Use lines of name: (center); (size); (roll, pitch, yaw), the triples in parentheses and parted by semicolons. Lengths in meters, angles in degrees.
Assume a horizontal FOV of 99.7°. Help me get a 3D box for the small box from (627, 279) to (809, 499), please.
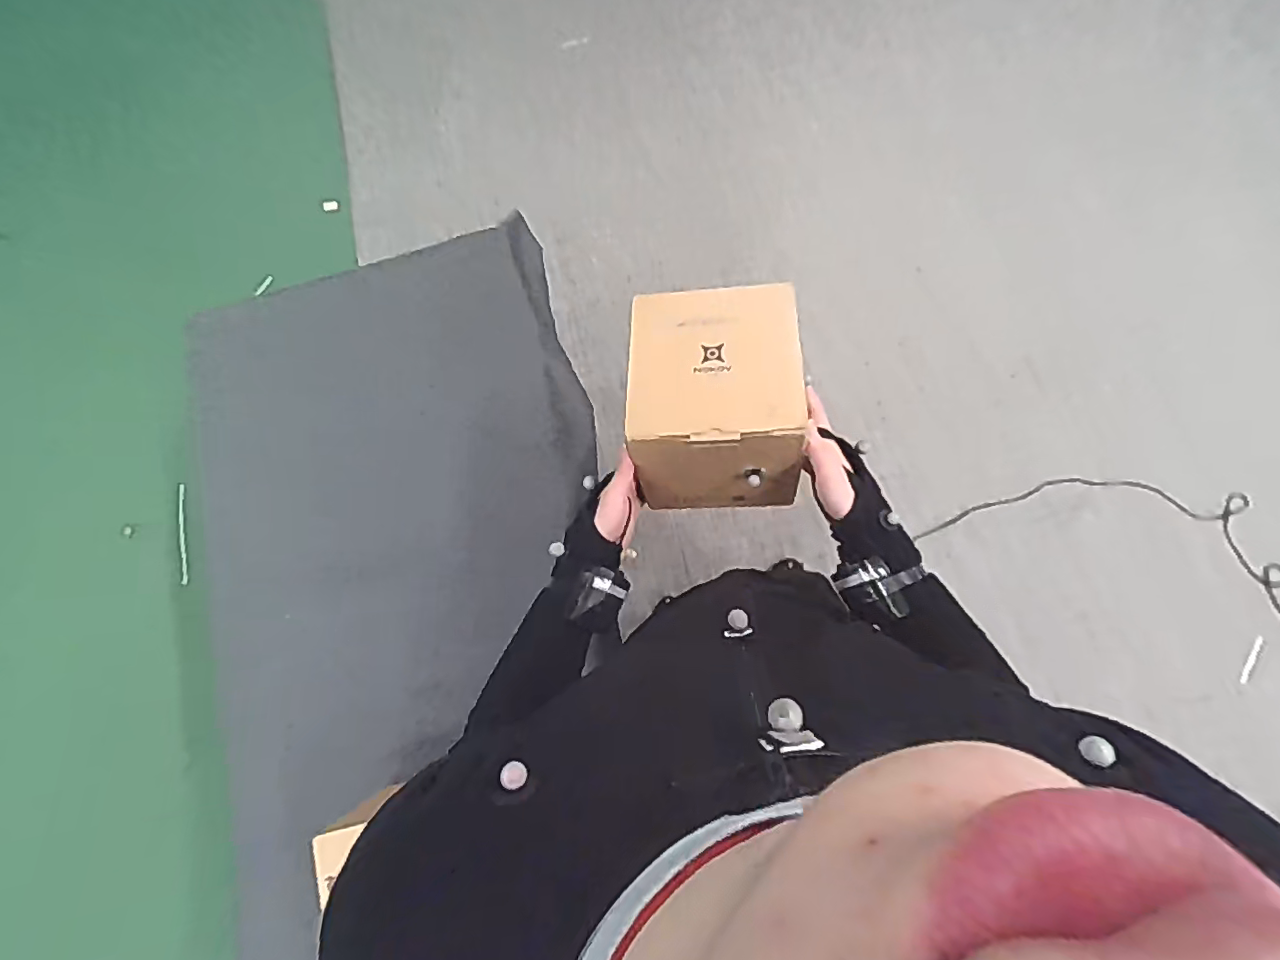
small box: (0.084, -0.086, 0.586); (0.168, 0.176, 0.179); (-1, 63, 8)
